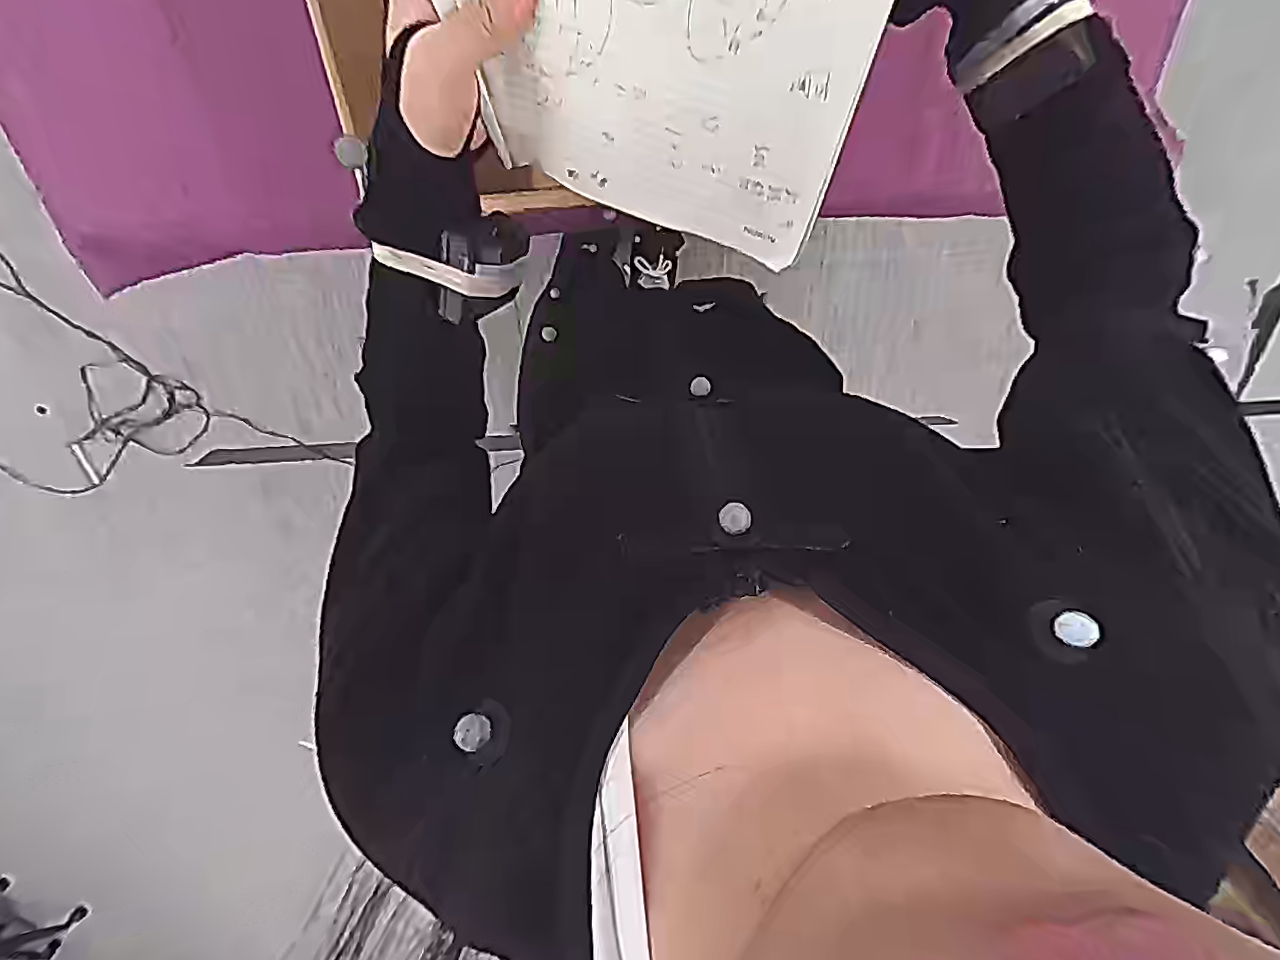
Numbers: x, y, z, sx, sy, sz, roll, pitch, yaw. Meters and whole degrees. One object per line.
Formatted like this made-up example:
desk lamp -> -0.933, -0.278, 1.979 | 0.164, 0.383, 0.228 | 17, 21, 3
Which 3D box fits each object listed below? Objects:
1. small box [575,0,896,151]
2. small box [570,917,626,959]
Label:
small box -> 0.064, -0.297, 0.251 | 0.168, 0.176, 0.179 | 26, 101, 0
small box -> -0.129, 1.466, 1.644 | 0.168, 0.176, 0.179 | 1, 121, -4
